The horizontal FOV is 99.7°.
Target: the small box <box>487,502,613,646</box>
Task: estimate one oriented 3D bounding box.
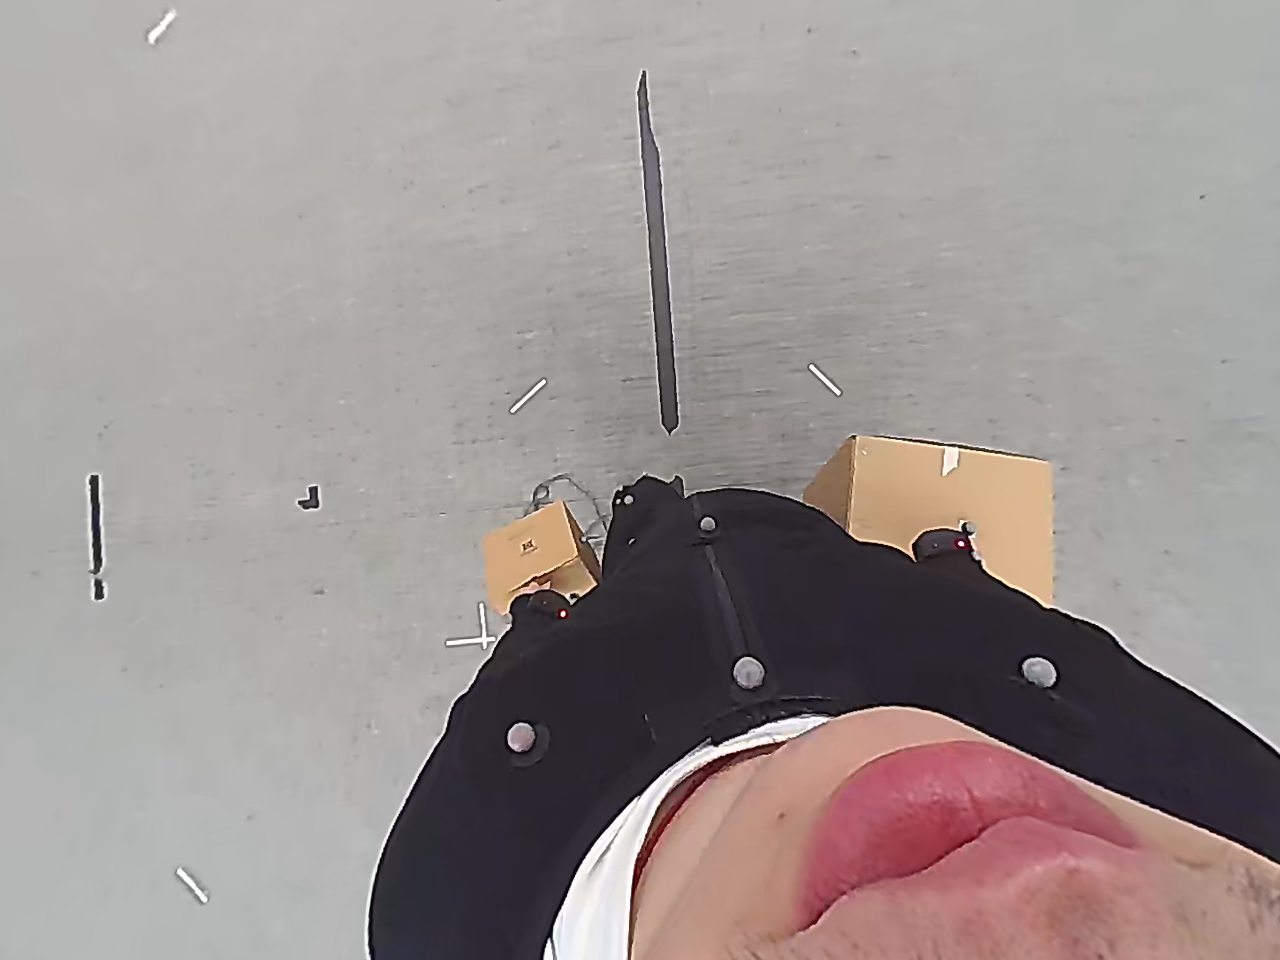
[{"bbox_3d":[-0.165,0.180,1.000,0.168,0.179,0.176,-26,125,-1],"label":"small box"}]
